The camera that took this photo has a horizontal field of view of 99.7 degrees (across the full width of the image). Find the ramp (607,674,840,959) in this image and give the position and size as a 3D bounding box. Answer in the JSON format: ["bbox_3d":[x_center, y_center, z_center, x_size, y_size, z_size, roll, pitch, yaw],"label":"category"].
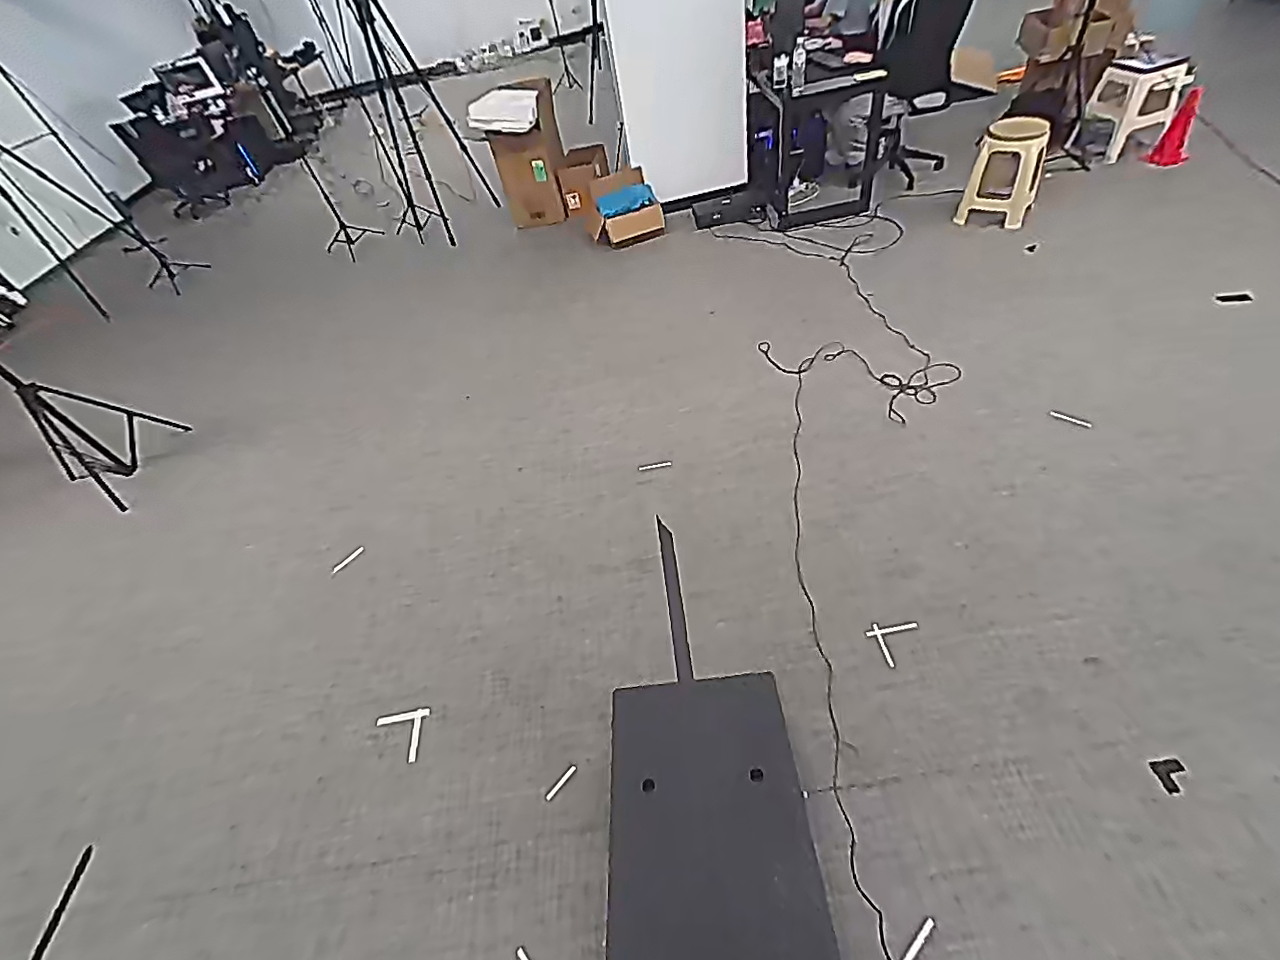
[{"bbox_3d":[0.164,0.916,1.242,0.509,0.206,0.991,-10,46,5],"label":"ramp"}]
